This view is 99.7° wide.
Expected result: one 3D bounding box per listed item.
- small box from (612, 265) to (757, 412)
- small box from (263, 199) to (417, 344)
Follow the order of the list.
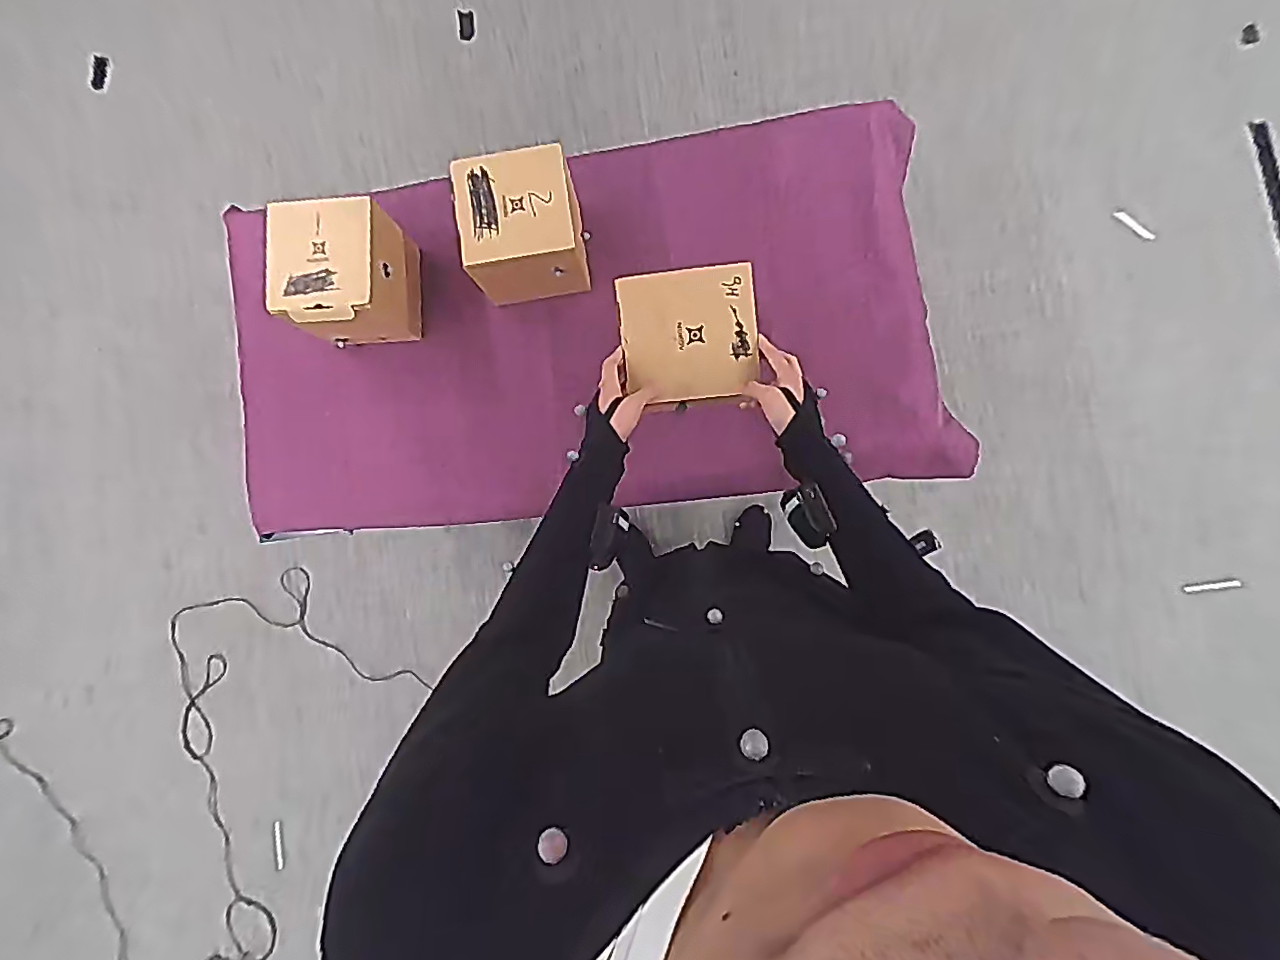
[{"bbox_3d":[0.061,-0.186,0.761,0.179,0.176,0.168,-4,94,3],"label":"small box"},{"bbox_3d":[-0.485,-0.332,0.896,0.168,0.176,0.179,-3,87,2],"label":"small box"}]
